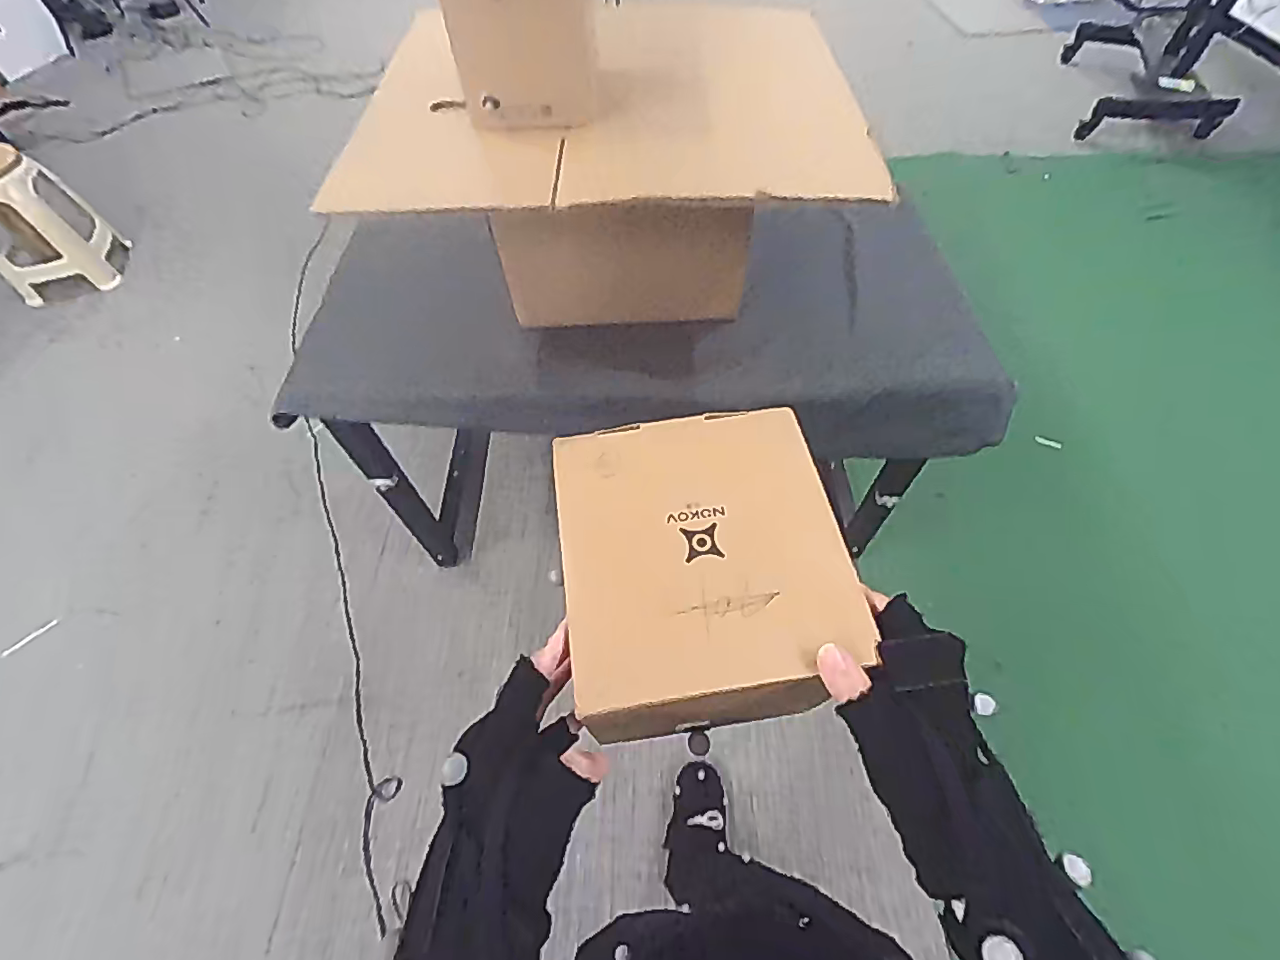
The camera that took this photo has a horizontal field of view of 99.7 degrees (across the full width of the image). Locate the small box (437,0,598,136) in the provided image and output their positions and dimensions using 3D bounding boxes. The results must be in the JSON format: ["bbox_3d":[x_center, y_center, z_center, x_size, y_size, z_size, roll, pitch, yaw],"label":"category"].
[{"bbox_3d":[-0.147,-0.579,0.714,0.168,0.176,0.179,-1,56,1],"label":"small box"}]

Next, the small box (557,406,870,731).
[{"bbox_3d":[0.034,0.071,0.399,0.168,0.176,0.179,-8,59,-3],"label":"small box"}]
